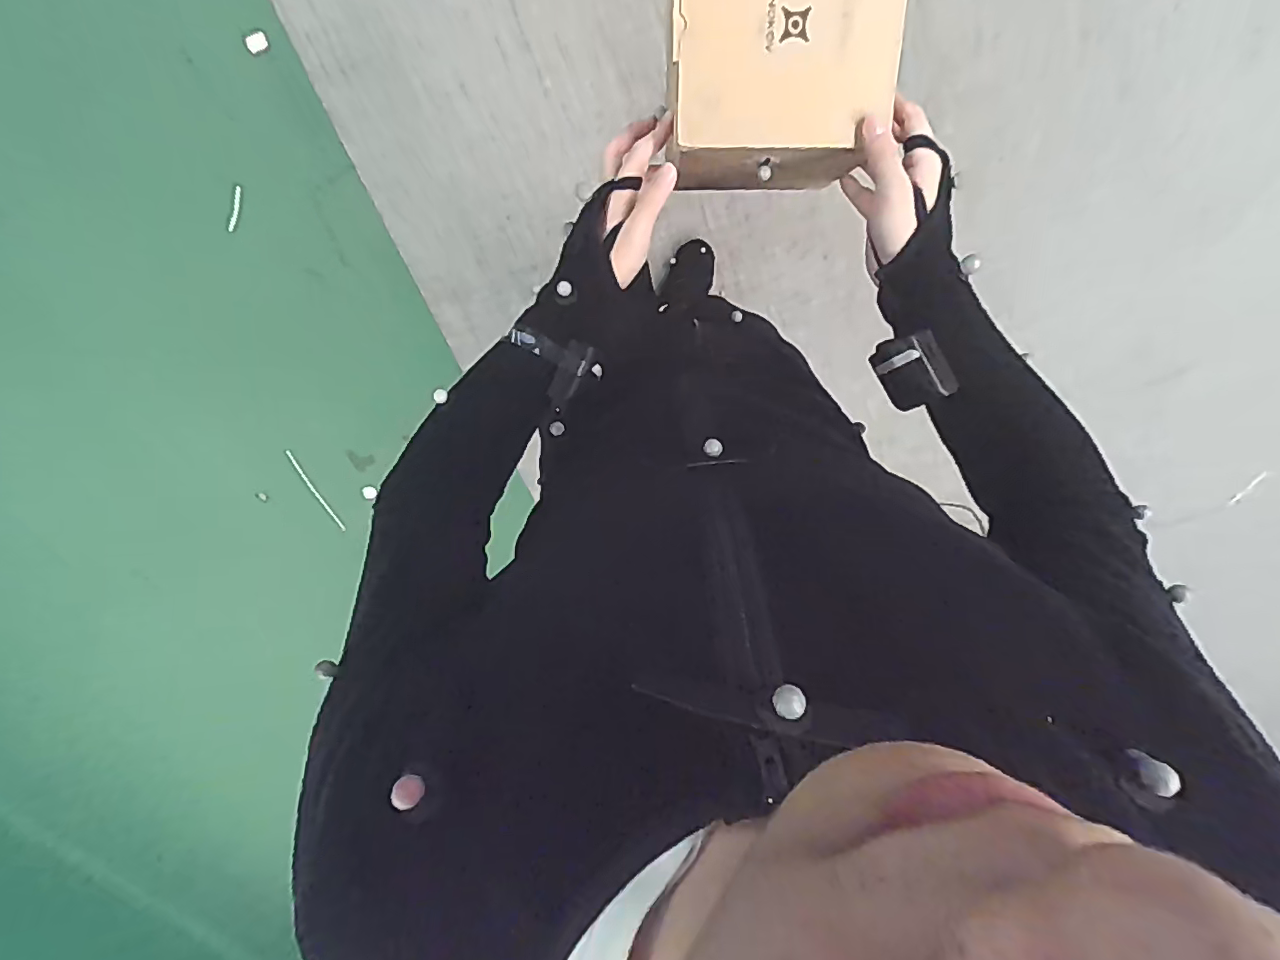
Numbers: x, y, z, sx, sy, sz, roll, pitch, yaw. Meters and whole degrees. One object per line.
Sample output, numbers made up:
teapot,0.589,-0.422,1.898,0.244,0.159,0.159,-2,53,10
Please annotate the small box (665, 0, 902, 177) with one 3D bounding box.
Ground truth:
small box,0.113,-0.383,0.486,0.179,0.176,0.168,1,107,0
